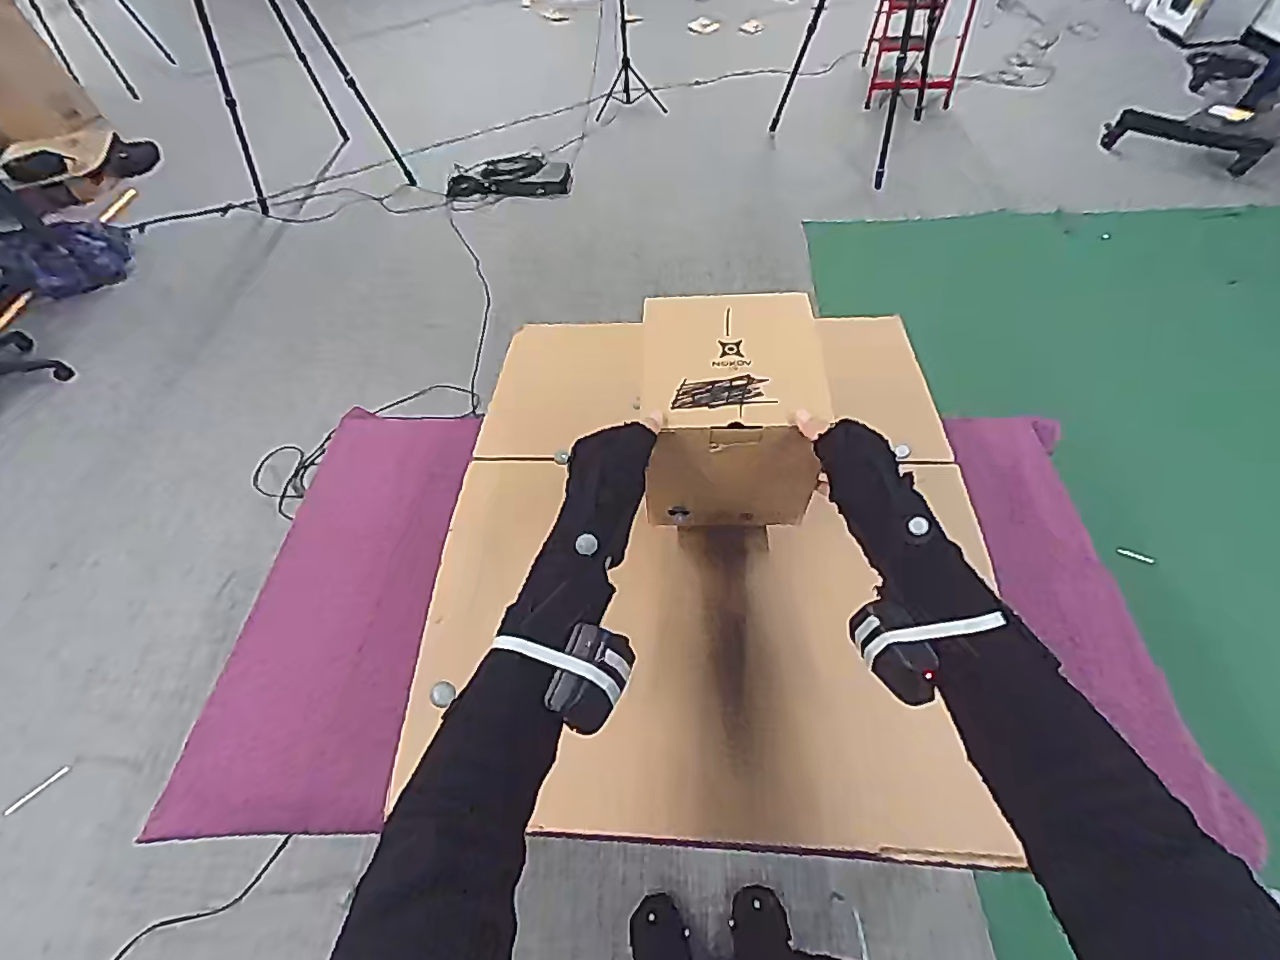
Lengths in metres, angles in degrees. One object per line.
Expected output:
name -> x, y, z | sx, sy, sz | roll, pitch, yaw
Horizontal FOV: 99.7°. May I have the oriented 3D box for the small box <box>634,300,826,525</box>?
small box -> 0.086, -0.064, 0.571 | 0.168, 0.176, 0.179 | 0, 55, 4
